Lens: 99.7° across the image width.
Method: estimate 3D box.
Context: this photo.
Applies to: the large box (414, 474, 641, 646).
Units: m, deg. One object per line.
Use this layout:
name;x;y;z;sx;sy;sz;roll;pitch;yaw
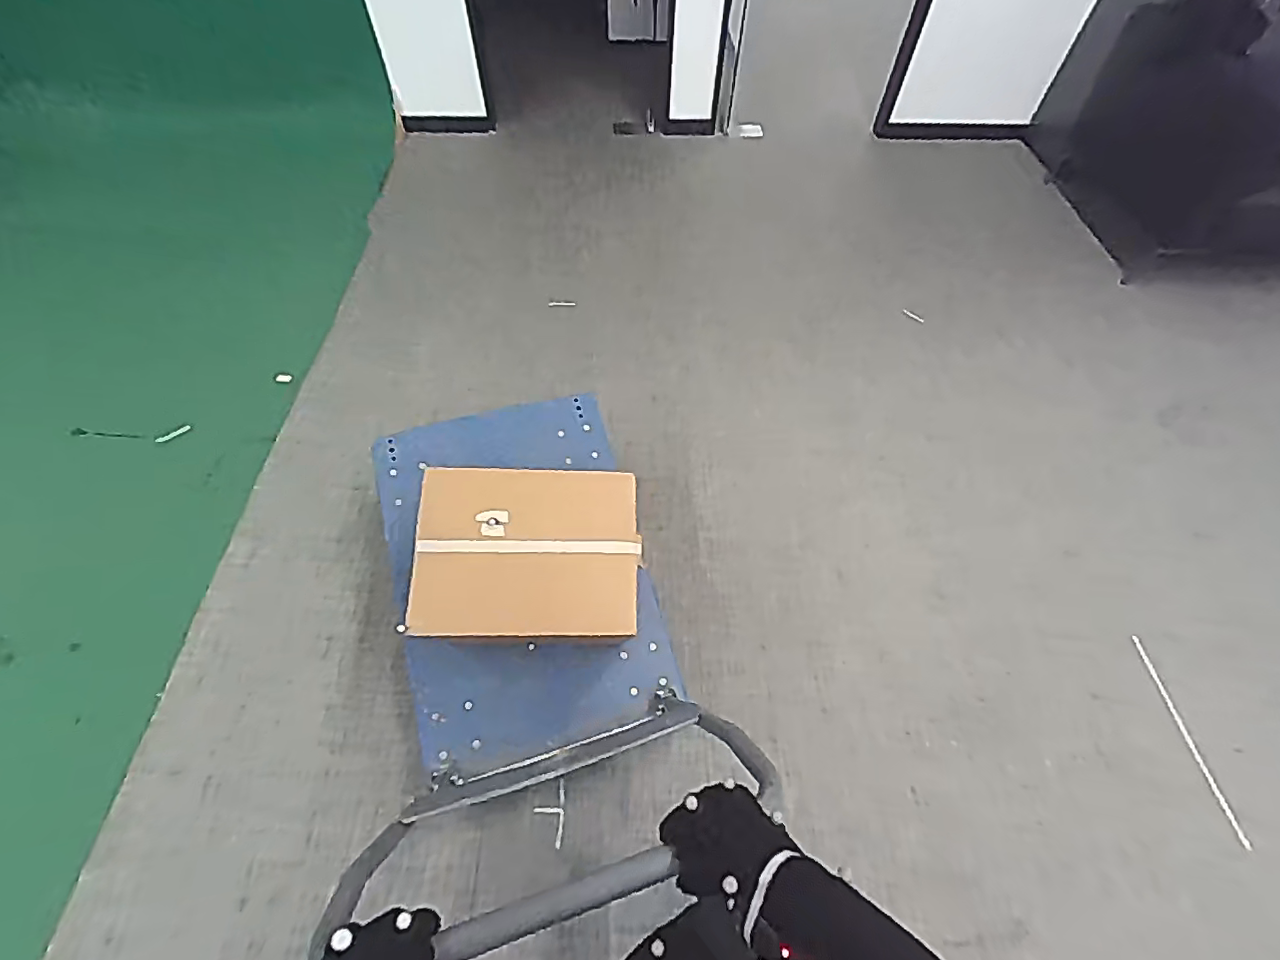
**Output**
large box;-0.210;0.183;1.141;0.408;0.320;0.320;0;70;-4
